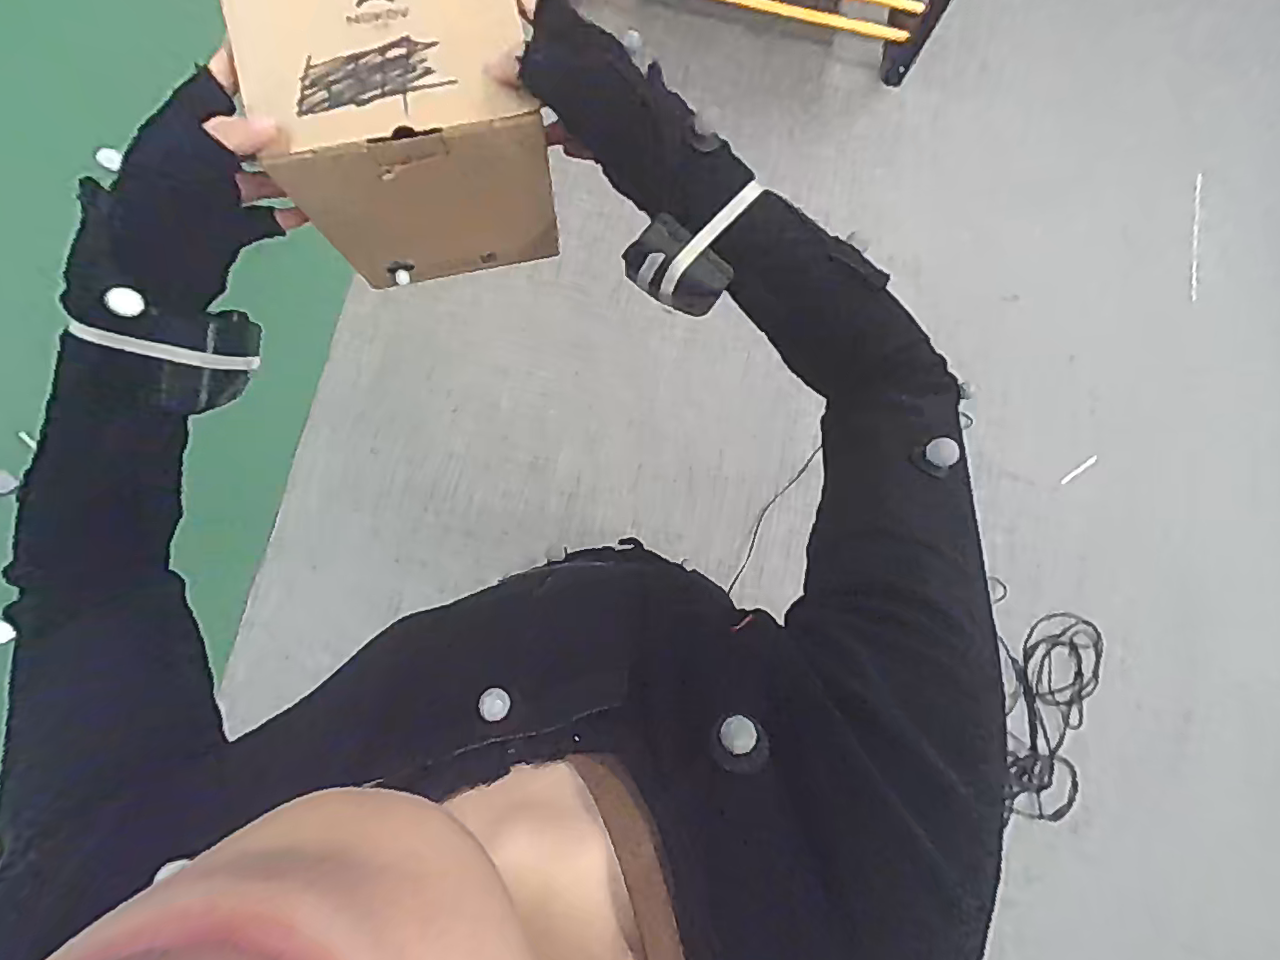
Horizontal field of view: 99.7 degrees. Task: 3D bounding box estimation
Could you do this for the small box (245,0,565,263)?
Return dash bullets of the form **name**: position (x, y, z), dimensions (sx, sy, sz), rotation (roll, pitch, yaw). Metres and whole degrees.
- **small box**: position (-0.155, -0.282, 0.401), dimensions (0.168, 0.176, 0.179), rotation (-13, 85, -6)
